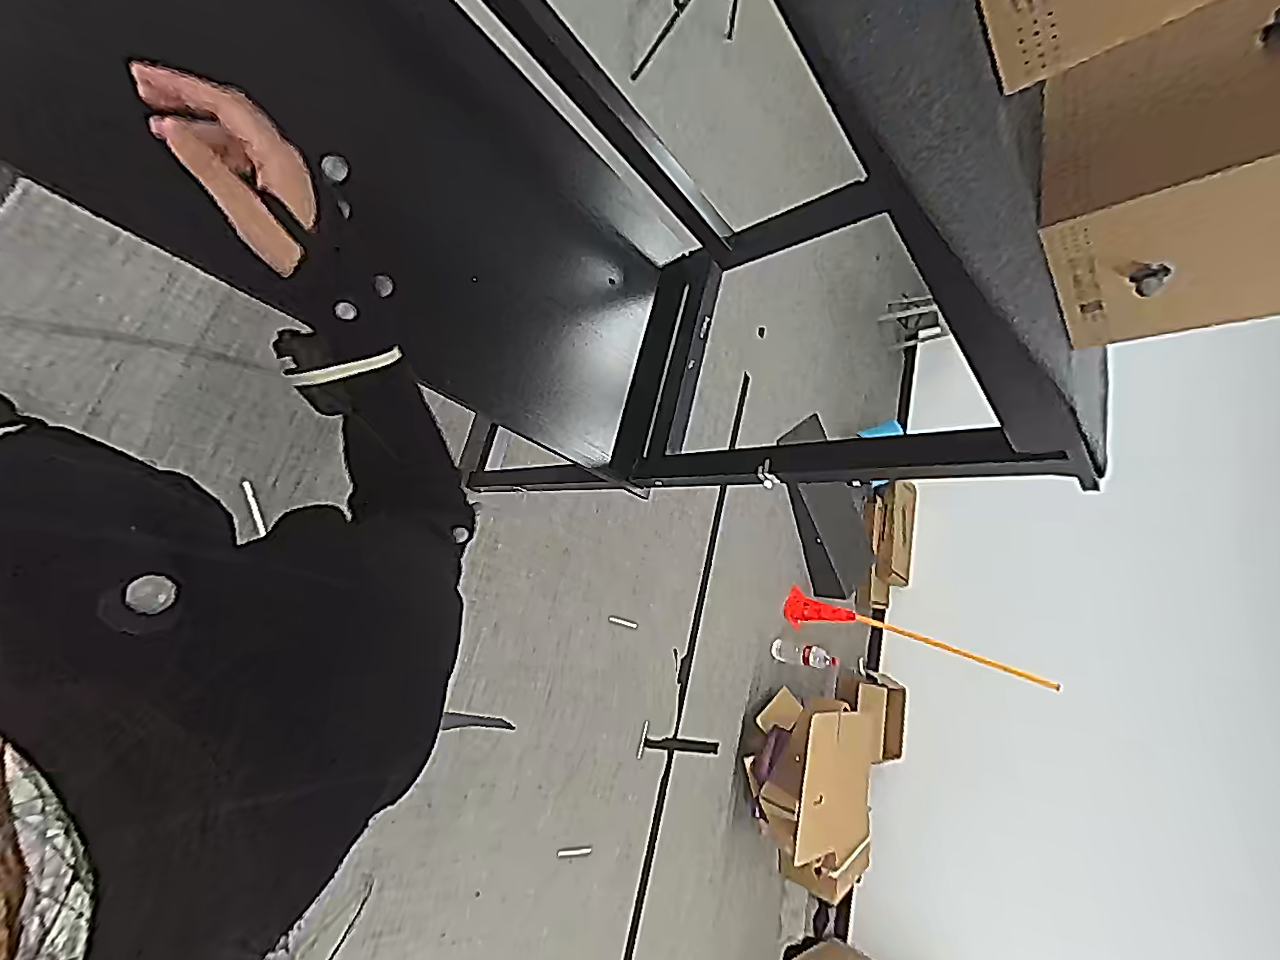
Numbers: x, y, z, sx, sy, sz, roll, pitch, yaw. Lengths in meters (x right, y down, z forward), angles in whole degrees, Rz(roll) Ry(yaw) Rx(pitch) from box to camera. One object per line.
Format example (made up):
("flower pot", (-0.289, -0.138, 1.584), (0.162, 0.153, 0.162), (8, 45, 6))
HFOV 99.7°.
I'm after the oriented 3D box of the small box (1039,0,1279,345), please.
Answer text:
("small box", (0.418, -0.231, 0.410), (0.168, 0.176, 0.179), (30, 67, -39))
